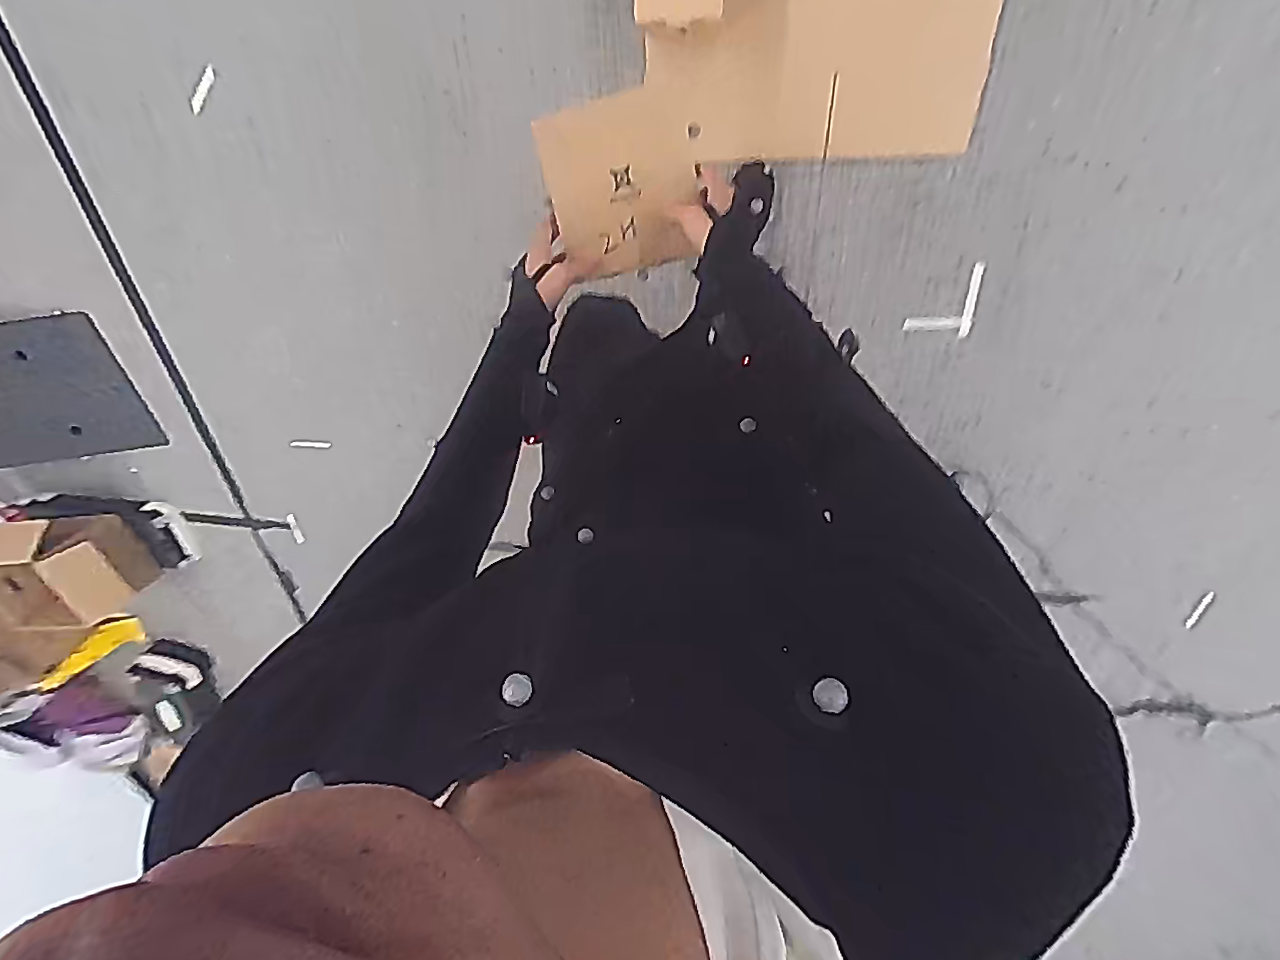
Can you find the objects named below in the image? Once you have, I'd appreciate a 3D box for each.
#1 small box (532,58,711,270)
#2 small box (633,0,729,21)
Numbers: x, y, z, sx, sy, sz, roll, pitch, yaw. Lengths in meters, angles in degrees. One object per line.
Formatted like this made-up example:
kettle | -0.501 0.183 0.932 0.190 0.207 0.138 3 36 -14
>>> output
small box | -0.017 -0.365 0.660 0.168 0.176 0.179 -12 112 6
small box | 0.084 -0.966 0.996 0.168 0.176 0.179 6 124 8
